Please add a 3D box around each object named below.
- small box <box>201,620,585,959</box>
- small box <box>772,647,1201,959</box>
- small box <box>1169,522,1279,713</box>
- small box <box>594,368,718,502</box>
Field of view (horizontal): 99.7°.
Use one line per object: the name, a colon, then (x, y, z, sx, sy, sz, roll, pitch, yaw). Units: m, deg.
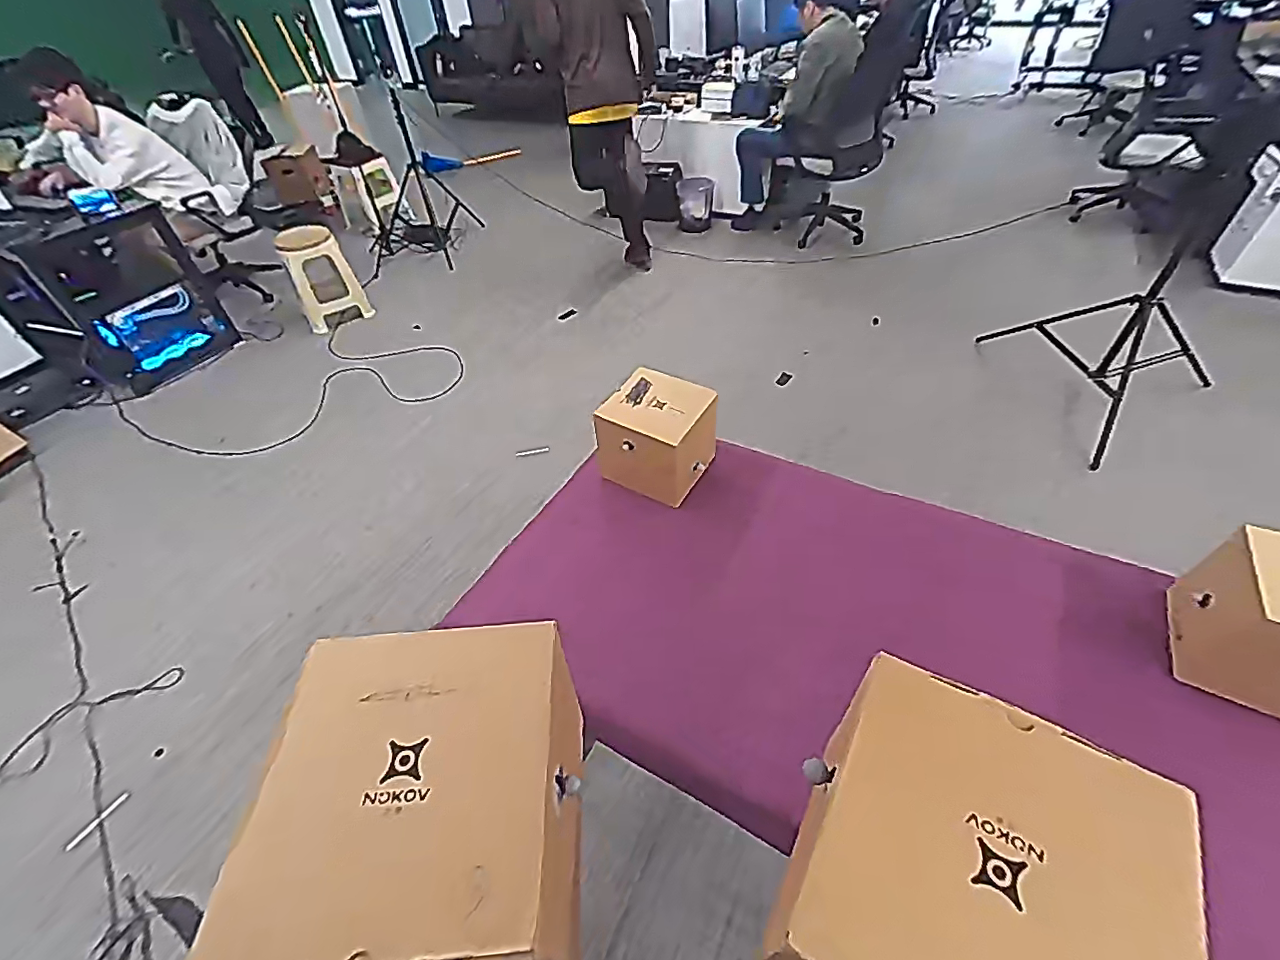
small box: (-0.127, 0.220, 0.366, 0.168, 0.176, 0.179, -4, 44, -2)
small box: (0.191, 0.248, 0.335, 0.168, 0.176, 0.179, 21, 50, 24)
small box: (0.851, 0.190, 0.714, 0.179, 0.176, 0.168, 21, 51, 22)
small box: (0.034, -0.084, 1.045, 0.179, 0.176, 0.168, 23, 53, 22)
